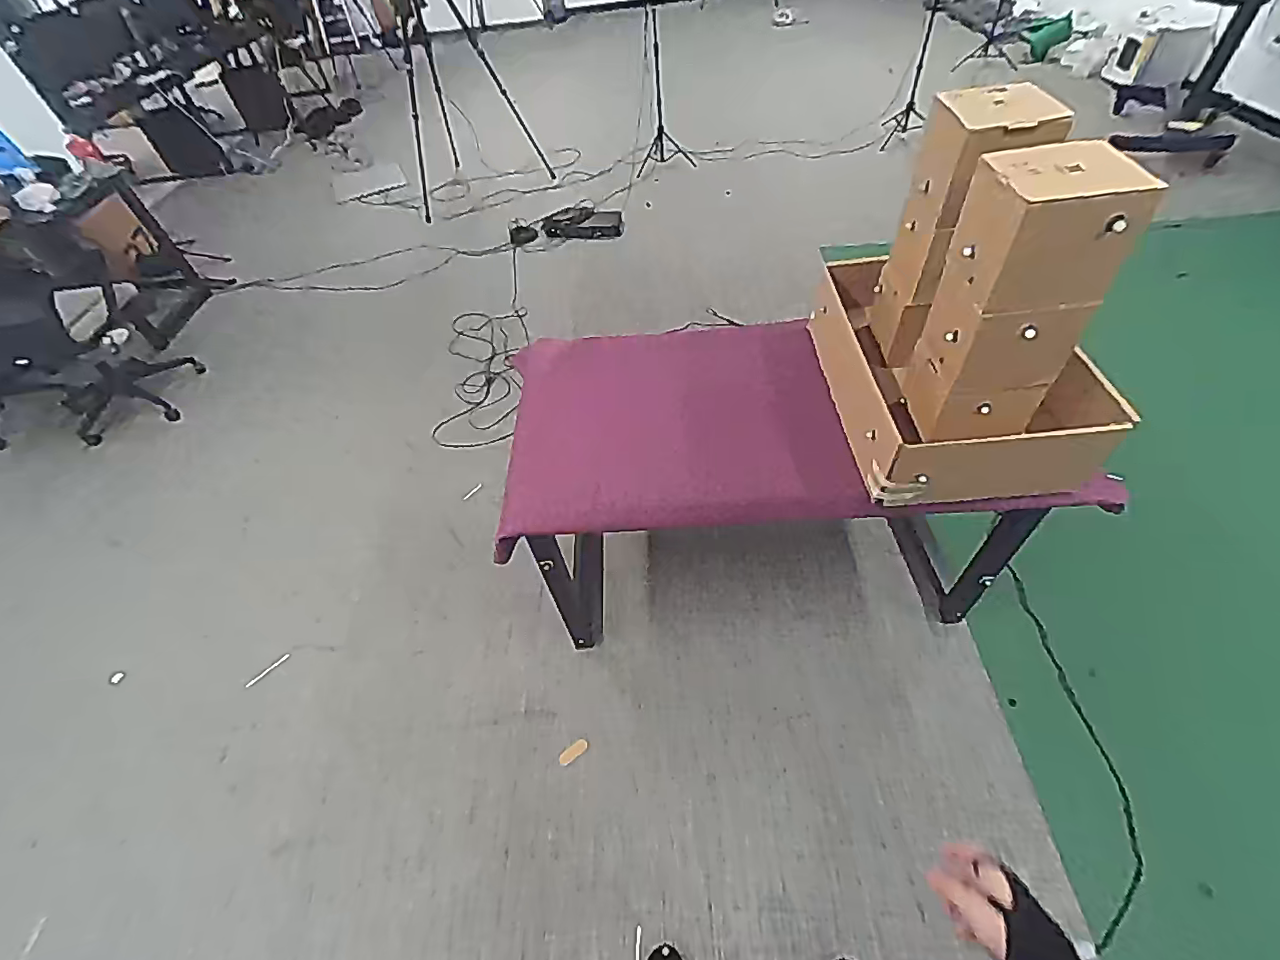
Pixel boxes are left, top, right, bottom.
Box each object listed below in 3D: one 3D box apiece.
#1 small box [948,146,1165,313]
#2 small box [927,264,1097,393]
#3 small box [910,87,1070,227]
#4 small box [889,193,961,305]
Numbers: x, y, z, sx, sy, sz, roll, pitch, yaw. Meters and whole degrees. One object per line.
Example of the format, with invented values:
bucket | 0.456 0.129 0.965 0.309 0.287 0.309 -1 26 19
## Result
small box | 0.605 -0.374 0.817 0.179 0.176 0.168 -4 50 6
small box | 0.624 -0.267 0.941 0.179 0.176 0.168 -3 51 6
small box | 0.620 -0.578 0.984 0.168 0.176 0.179 -3 52 5
small box | 0.635 -0.475 1.111 0.168 0.176 0.179 -3 51 5
